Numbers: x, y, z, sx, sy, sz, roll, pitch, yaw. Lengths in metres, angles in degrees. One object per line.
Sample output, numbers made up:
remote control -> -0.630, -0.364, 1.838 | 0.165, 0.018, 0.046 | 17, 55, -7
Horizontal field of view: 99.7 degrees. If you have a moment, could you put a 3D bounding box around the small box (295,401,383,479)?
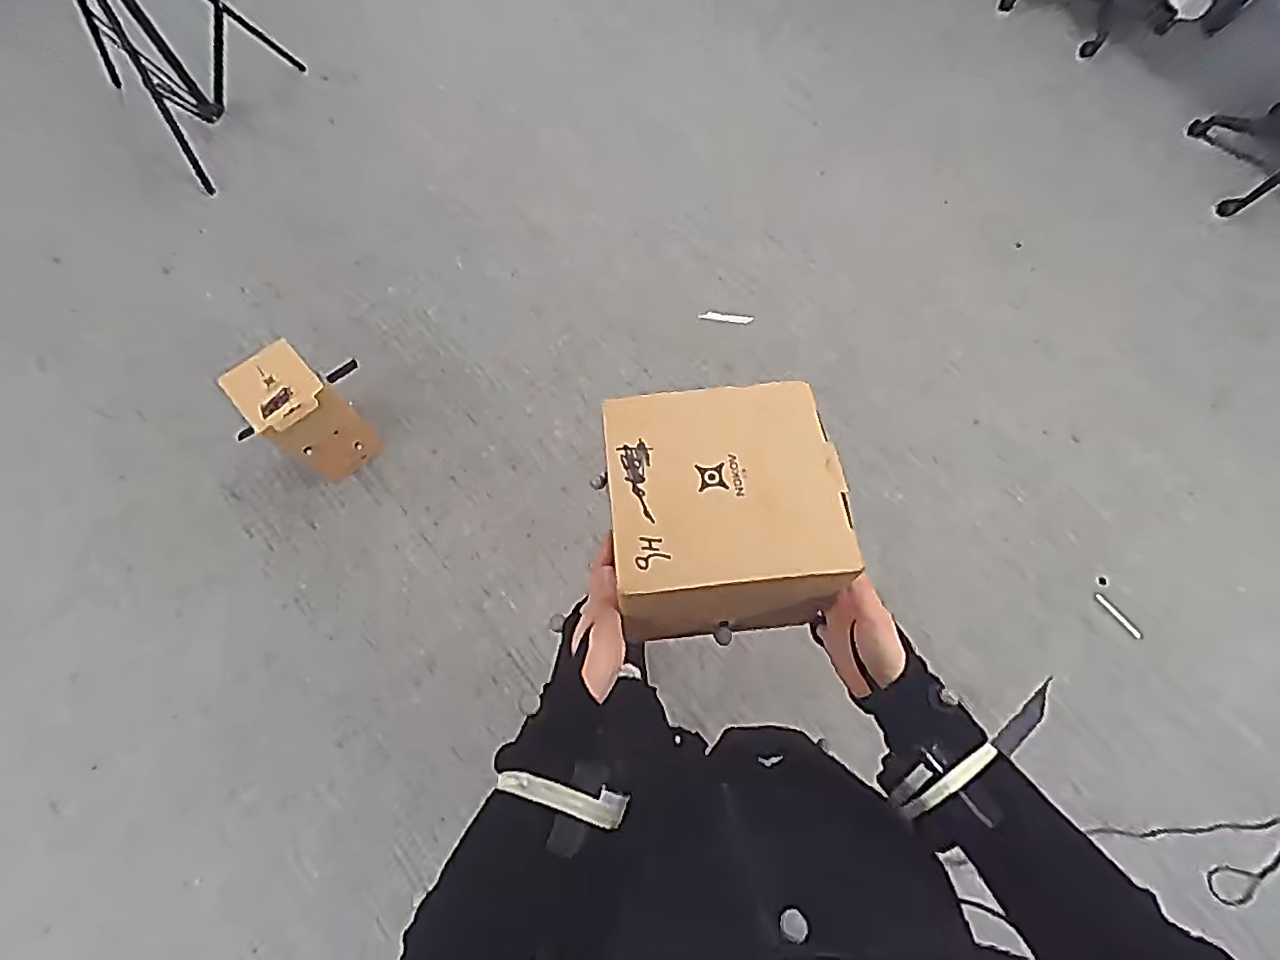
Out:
small box -> -0.808, -0.122, 1.402 | 0.168, 0.176, 0.179 | -42, 77, -15

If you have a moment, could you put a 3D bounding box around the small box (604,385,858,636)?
small box -> 0.060, 0.034, 0.479 | 0.179, 0.176, 0.168 | -4, 61, -3

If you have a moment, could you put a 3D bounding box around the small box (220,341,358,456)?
small box -> -0.796, -0.176, 1.247 | 0.168, 0.176, 0.179 | -41, 77, -14
